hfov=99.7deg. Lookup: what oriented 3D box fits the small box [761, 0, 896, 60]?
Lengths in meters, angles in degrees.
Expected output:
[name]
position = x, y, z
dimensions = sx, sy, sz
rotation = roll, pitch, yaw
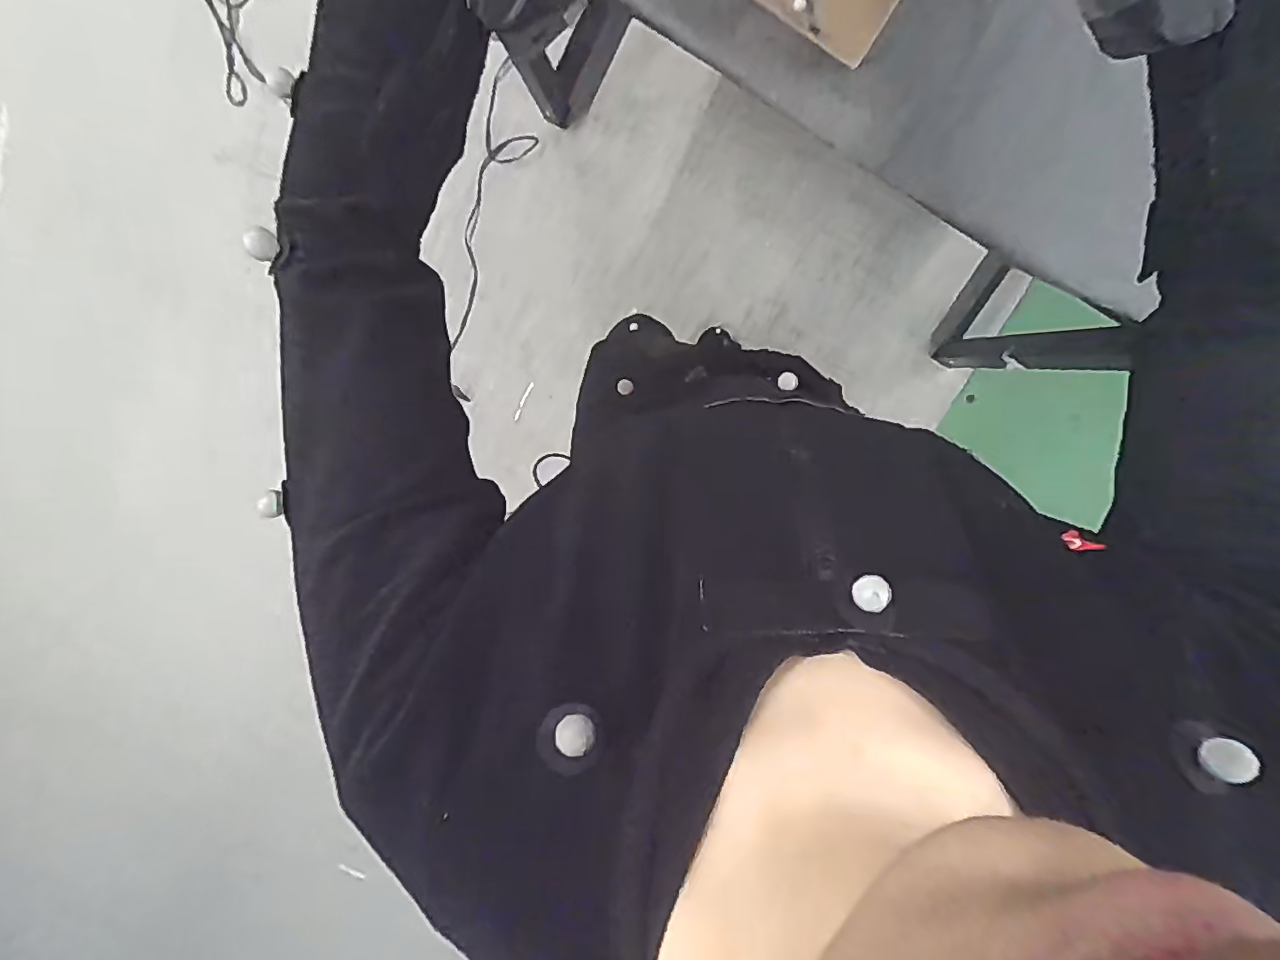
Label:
[small box]
position = 0.213, -0.563, 0.508
dimensions = 0.168, 0.176, 0.179
rotation = 32, 102, -4
